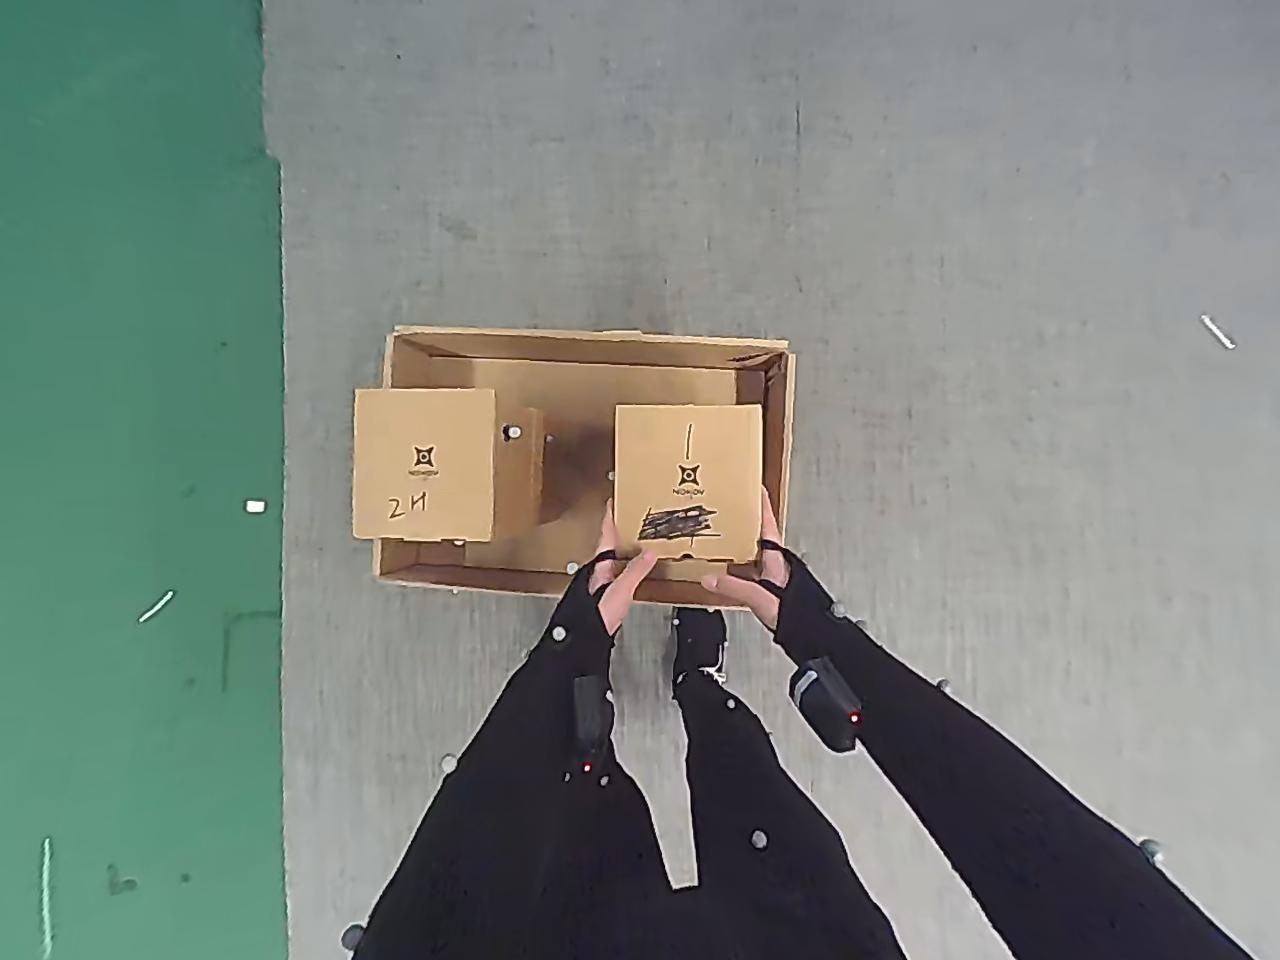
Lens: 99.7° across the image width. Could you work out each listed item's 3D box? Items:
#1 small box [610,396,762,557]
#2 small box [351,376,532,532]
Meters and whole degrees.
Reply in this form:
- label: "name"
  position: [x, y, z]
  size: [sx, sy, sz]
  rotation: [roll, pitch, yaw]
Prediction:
- label: "small box"
  position: [0.055, -0.004, 0.678]
  size: [0.168, 0.176, 0.179]
  rotation: [1, 89, 2]
- label: "small box"
  position: [-0.241, -0.029, 0.694]
  size: [0.168, 0.176, 0.179]
  rotation: [2, 90, 4]
